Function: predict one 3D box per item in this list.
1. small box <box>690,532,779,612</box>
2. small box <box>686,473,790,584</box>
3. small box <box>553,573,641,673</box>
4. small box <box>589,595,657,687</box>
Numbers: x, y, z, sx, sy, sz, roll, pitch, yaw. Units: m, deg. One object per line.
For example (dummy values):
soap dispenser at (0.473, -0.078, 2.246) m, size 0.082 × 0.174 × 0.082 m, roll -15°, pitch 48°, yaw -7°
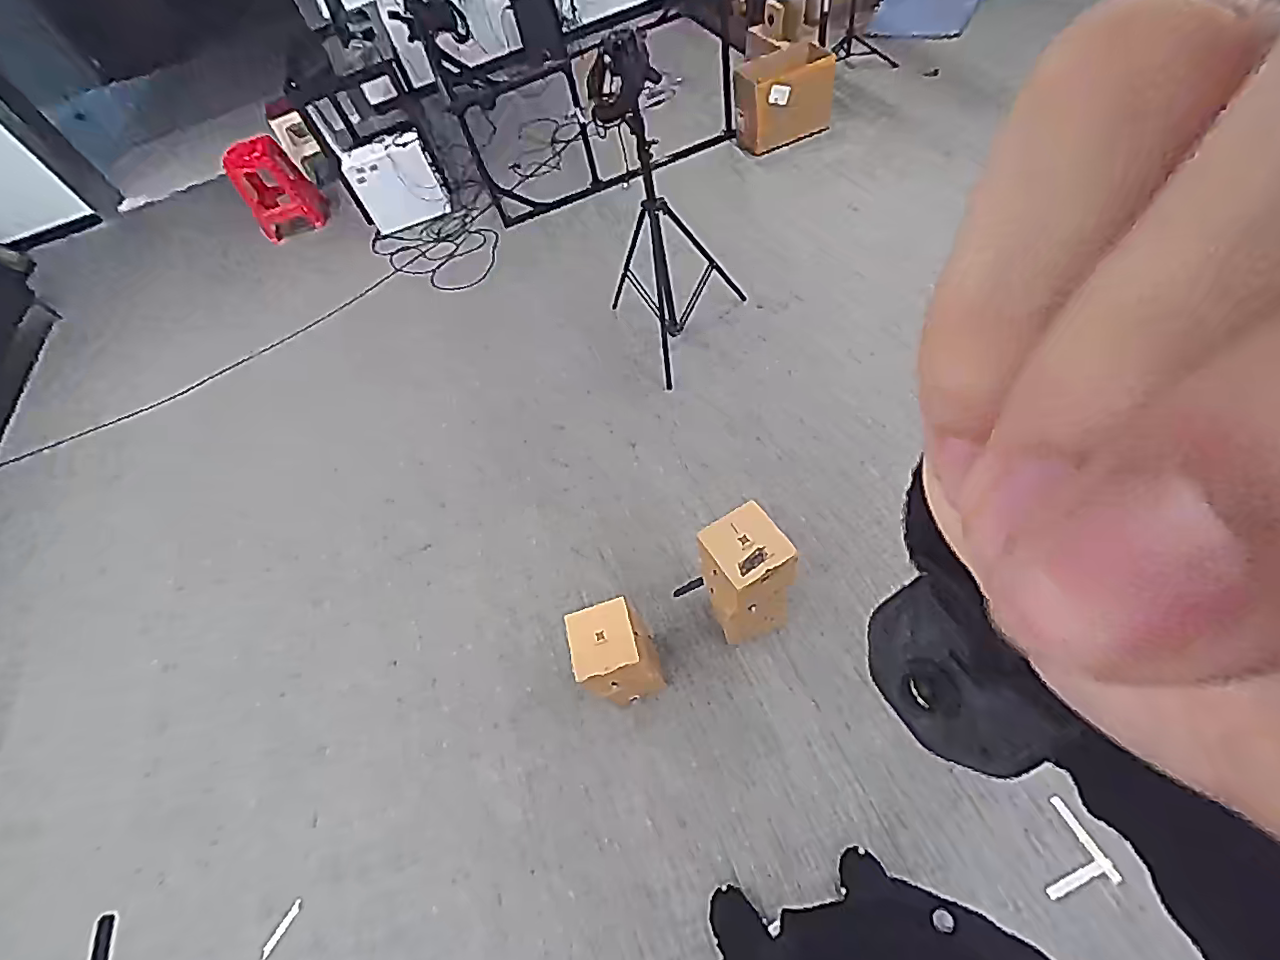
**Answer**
small box at (0.243, 0.211, 1.397) m, size 0.168 × 0.176 × 0.179 m, roll -24°, pitch 55°, yaw -3°
small box at (0.227, 0.122, 1.257) m, size 0.168 × 0.176 × 0.179 m, roll -30°, pitch 57°, yaw -8°
small box at (-0.108, 0.368, 1.377) m, size 0.168 × 0.176 × 0.179 m, roll -19°, pitch 56°, yaw 1°
small box at (-0.066, 0.452, 1.508) m, size 0.168 × 0.176 × 0.179 m, roll -22°, pitch 56°, yaw 1°
